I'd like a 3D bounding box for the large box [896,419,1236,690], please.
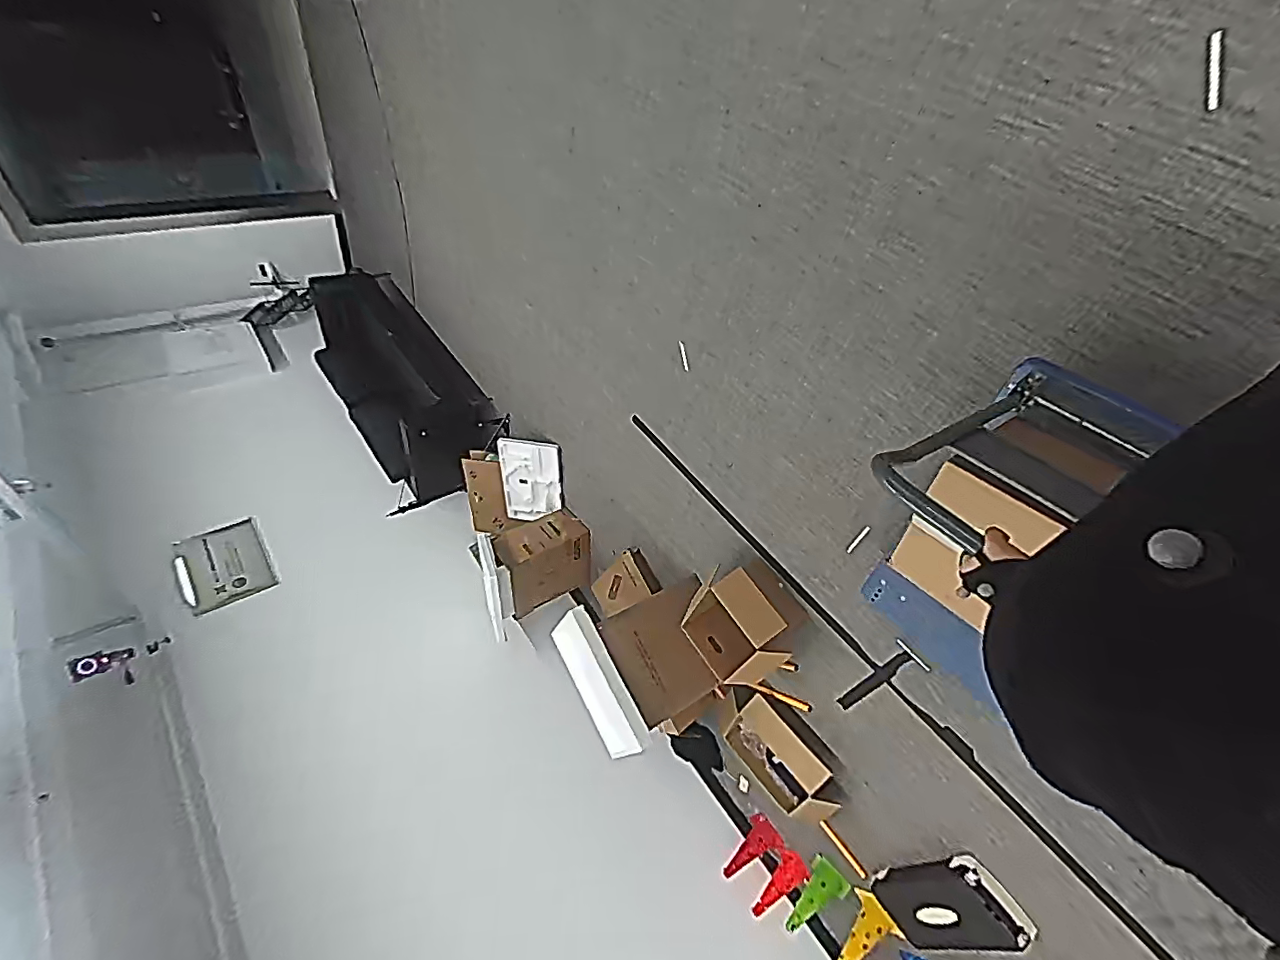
[{"bbox_3d":[0.842,0.130,1.117,0.408,0.320,0.320,43,141,36],"label":"large box"}]
